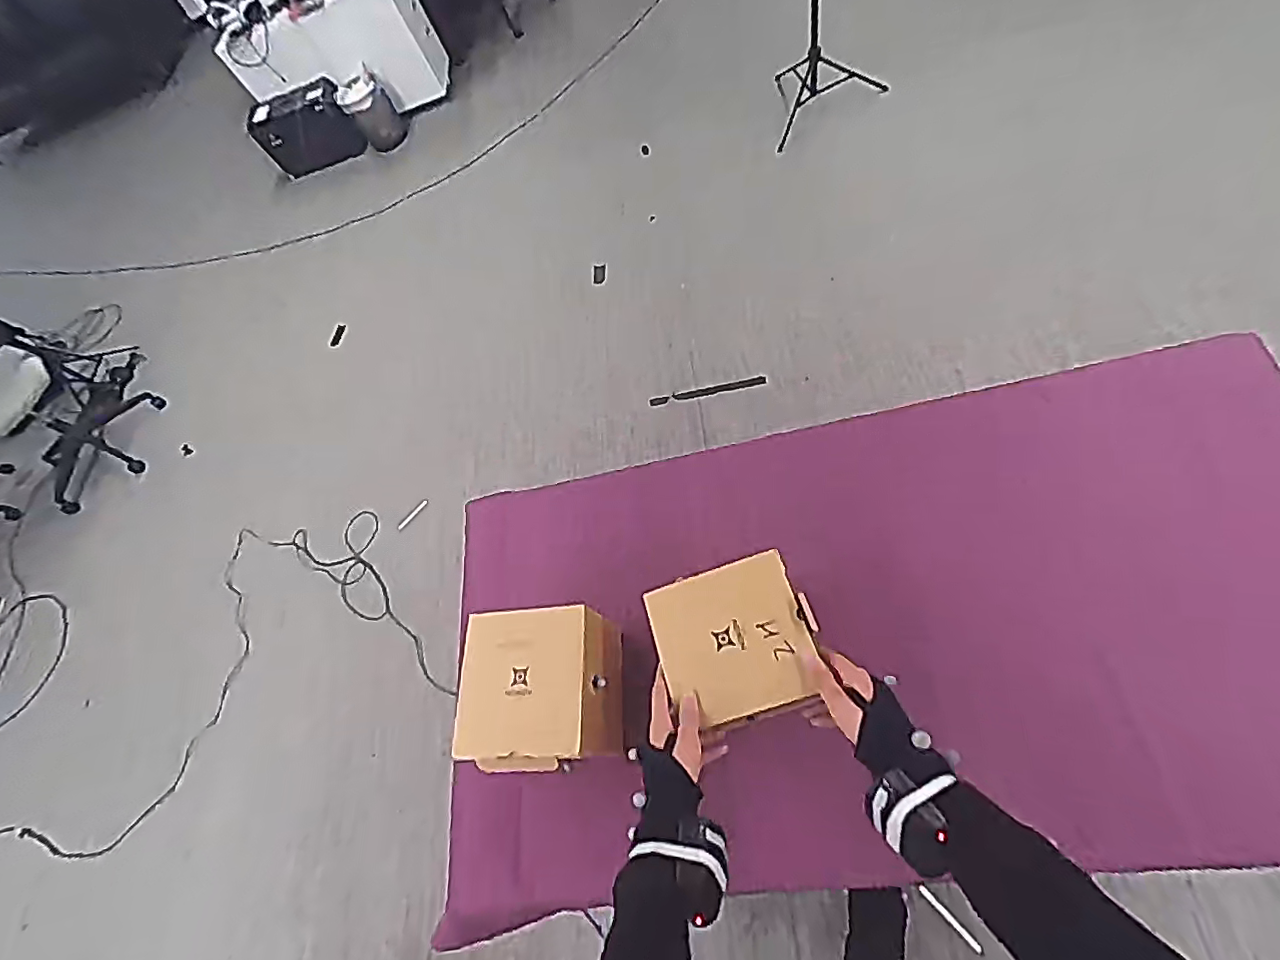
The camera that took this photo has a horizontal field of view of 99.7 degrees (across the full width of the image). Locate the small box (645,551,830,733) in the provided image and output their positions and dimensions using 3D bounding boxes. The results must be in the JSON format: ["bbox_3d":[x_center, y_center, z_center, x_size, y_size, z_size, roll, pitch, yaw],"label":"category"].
[{"bbox_3d":[0.125,0.215,0.686,0.179,0.176,0.168,-20,61,7],"label":"small box"}]

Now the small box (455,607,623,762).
[{"bbox_3d":[-0.123,0.280,0.733,0.168,0.176,0.179,-7,63,13],"label":"small box"}]
